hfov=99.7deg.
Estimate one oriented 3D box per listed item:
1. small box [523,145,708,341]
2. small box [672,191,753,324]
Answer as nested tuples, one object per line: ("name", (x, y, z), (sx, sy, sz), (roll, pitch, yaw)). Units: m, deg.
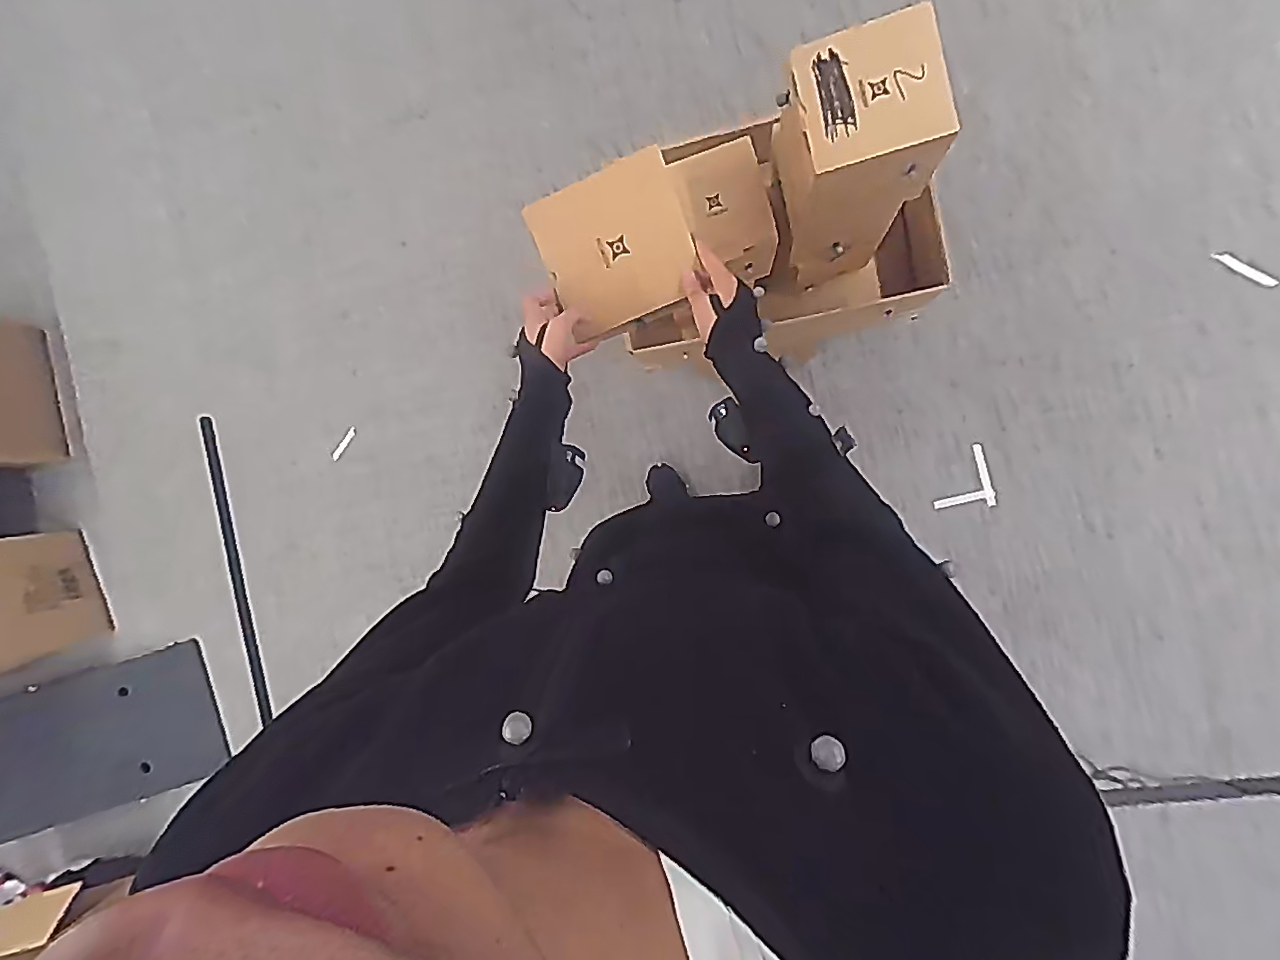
("small box", (-0.019, -0.294, 0.704), (0.179, 0.176, 0.168), (-19, 103, 14))
("small box", (0.127, -0.446, 1.111), (0.168, 0.176, 0.179), (-15, 89, 10))
